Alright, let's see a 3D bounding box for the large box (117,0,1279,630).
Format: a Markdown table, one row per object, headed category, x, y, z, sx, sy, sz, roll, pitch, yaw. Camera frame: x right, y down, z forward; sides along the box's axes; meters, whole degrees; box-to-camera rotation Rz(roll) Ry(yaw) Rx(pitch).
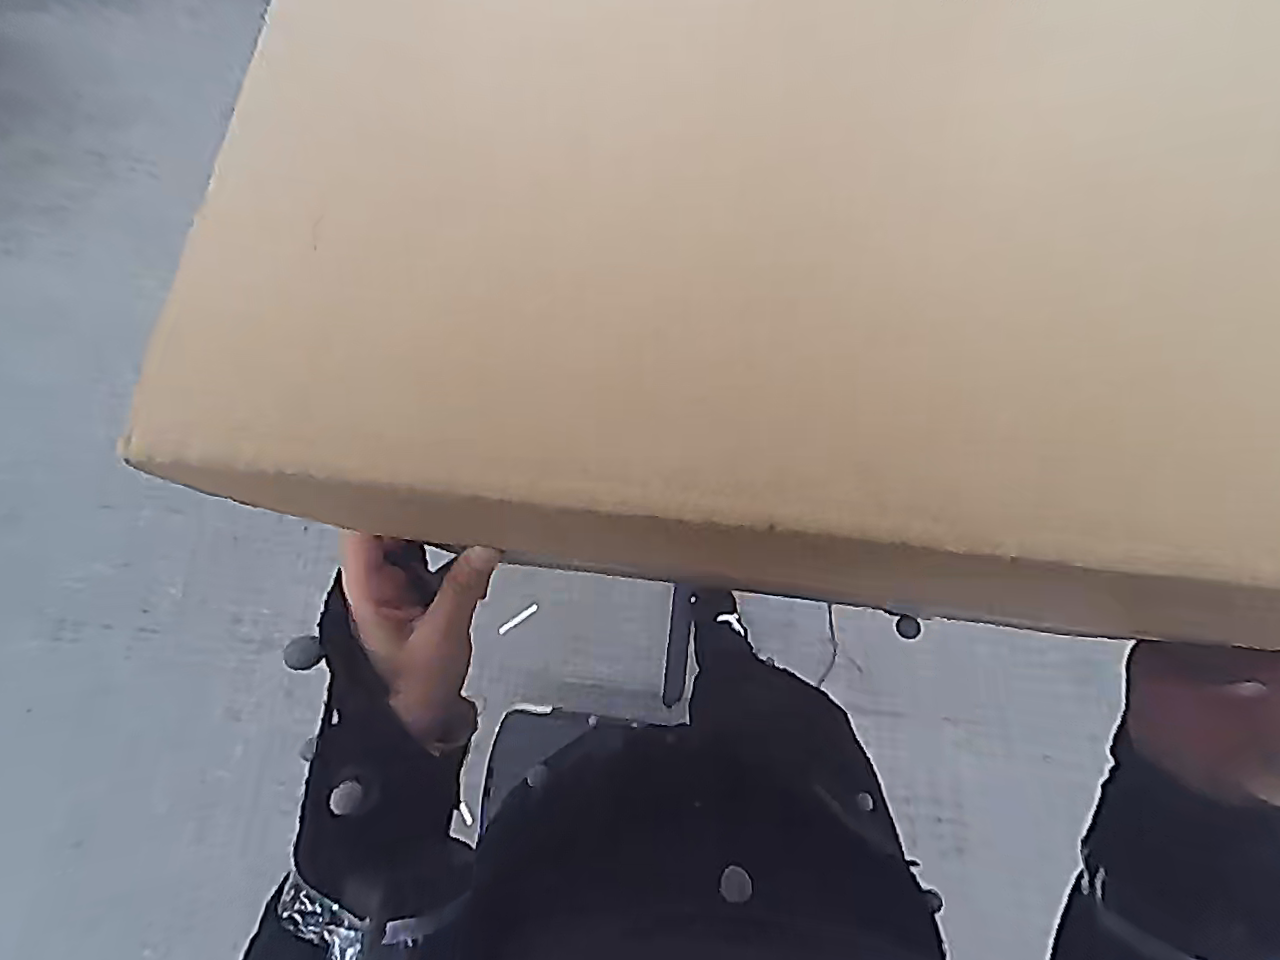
| category | x | y | z | sx | sy | sz | roll | pitch | yaw |
| --- | --- | --- | --- | --- | --- | --- | --- | --- | --- |
| large box | 0.084 | -0.104 | 0.292 | 0.408 | 0.320 | 0.320 | 5 | 79 | 5 |
